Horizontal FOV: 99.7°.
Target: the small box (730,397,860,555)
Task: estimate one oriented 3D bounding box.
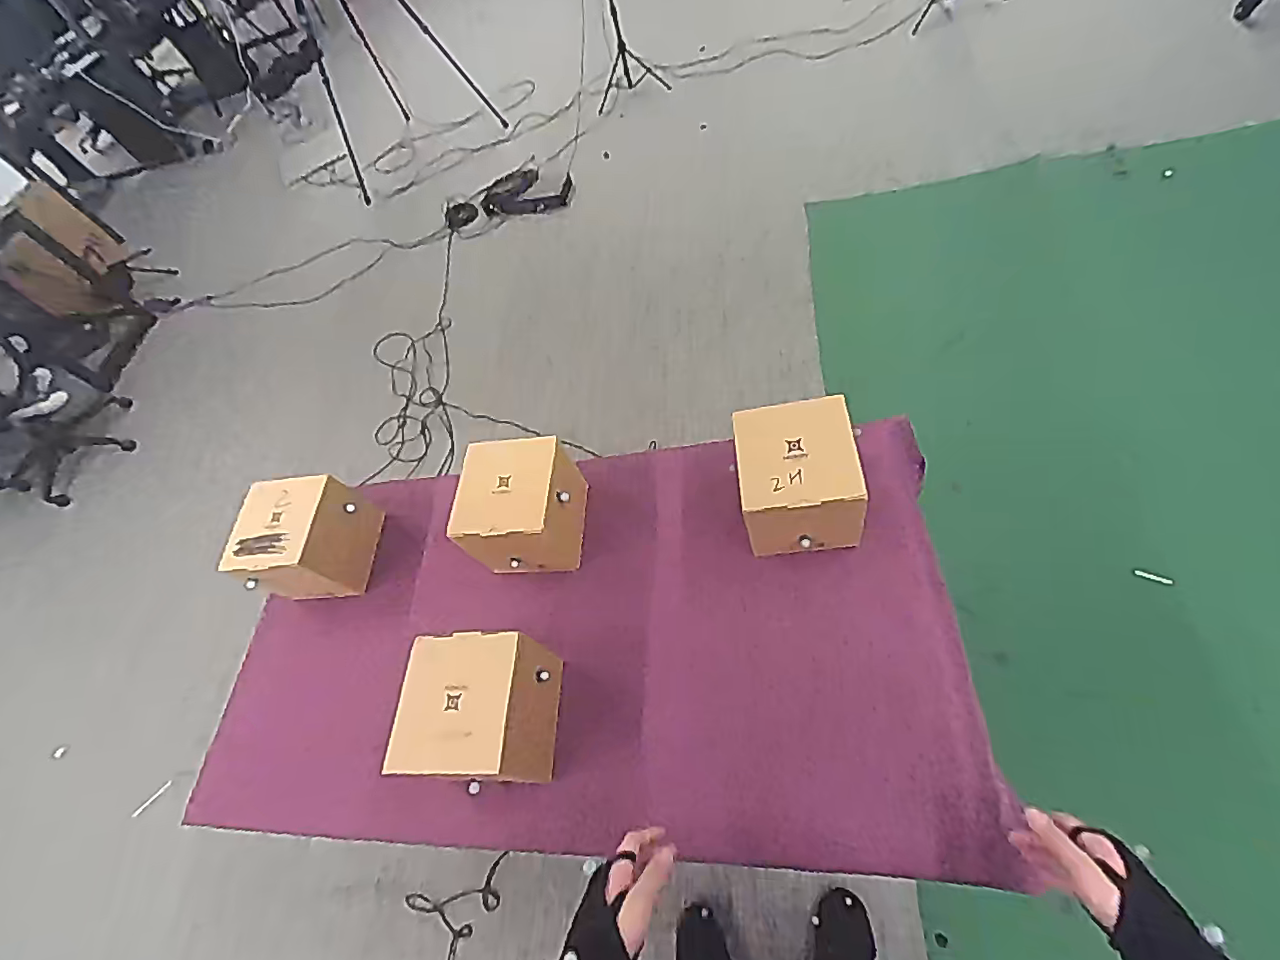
[{"bbox_3d":[0.237,0.001,0.839,0.168,0.176,0.179,-8,59,15],"label":"small box"}]

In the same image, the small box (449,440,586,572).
[{"bbox_3d":[-0.202,0.051,0.950,0.168,0.176,0.179,-4,62,14],"label":"small box"}]

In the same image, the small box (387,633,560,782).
[{"bbox_3d":[-0.227,0.335,0.791,0.168,0.176,0.179,-6,58,14],"label":"small box"}]
